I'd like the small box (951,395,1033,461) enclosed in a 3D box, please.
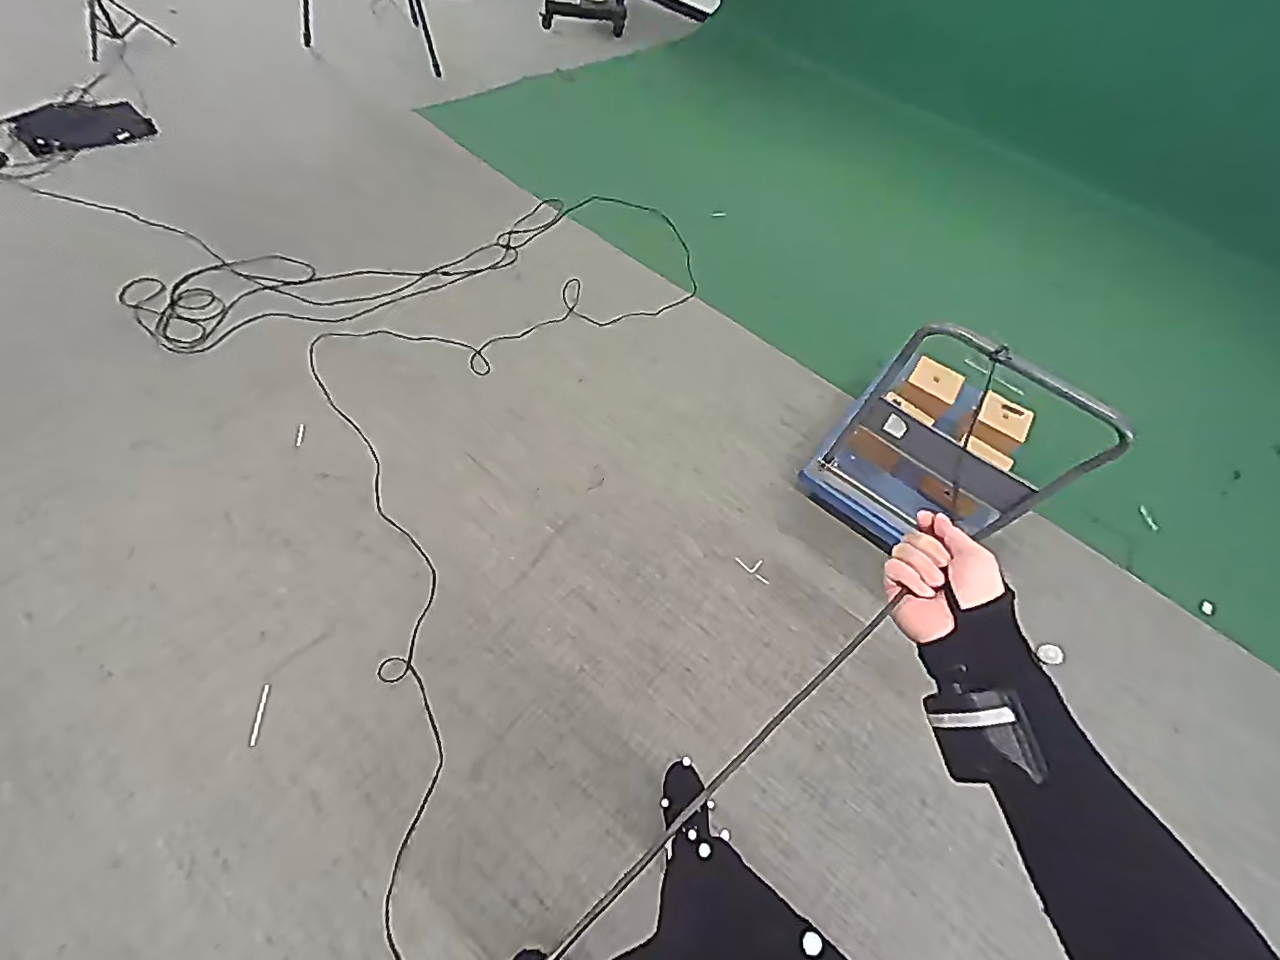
[{"bbox_3d":[1.239,-0.159,1.913,0.168,0.176,0.179,34,58,14],"label":"small box"}]

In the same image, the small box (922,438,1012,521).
[{"bbox_3d":[1.069,0.000,1.777,0.168,0.176,0.179,38,60,16],"label":"small box"}]

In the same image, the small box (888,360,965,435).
[{"bbox_3d":[1.036,-0.296,1.971,0.168,0.176,0.179,35,58,13],"label":"small box"}]
